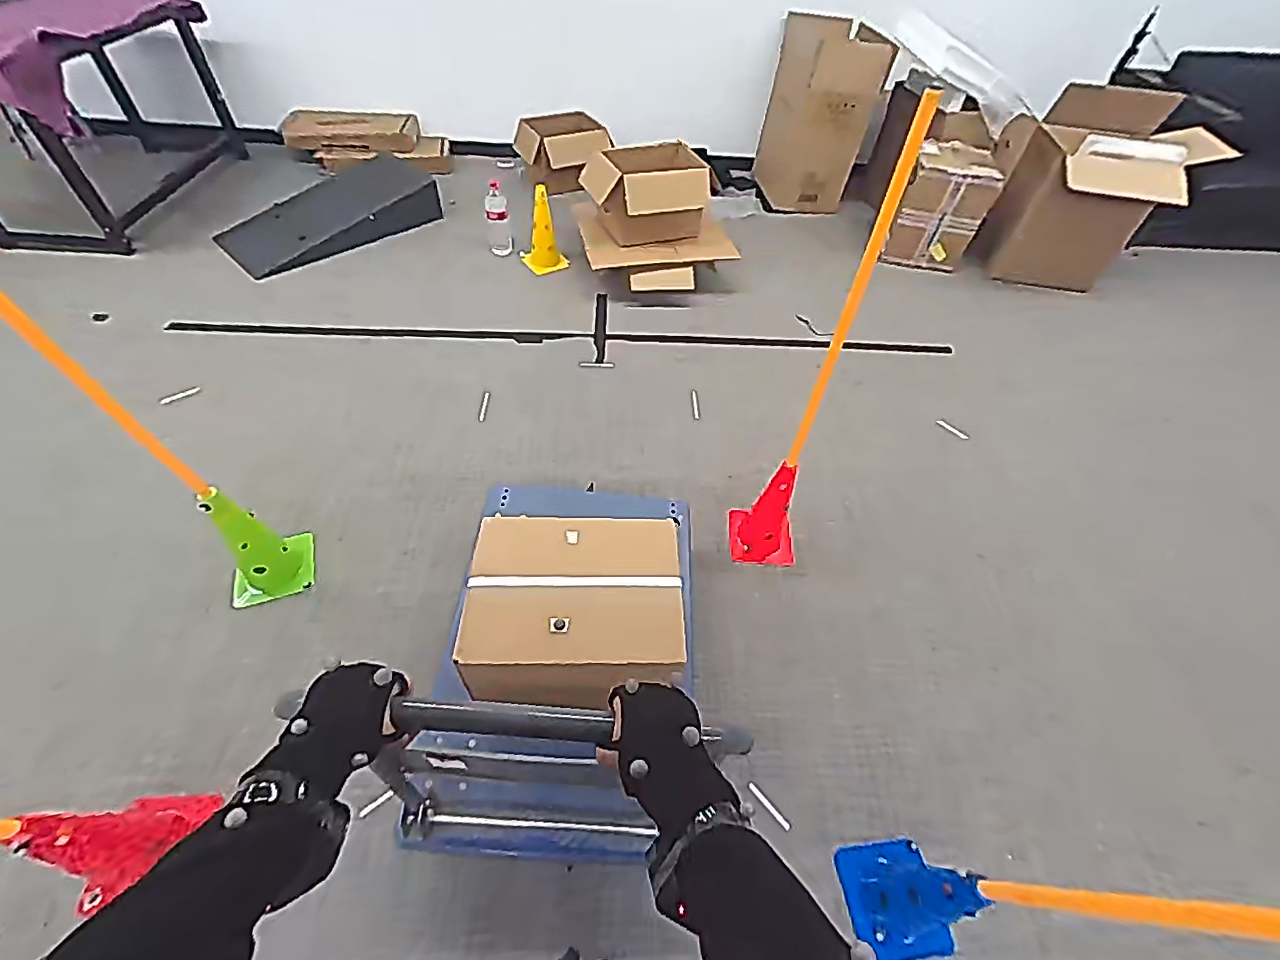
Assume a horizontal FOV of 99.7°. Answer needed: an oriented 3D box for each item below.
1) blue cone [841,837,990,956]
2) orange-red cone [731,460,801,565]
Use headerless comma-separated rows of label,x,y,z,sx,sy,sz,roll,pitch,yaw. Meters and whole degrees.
blue cone,0.554,0.778,1.030,0.193,0.380,0.192,-2,50,-7
orange-red cone,0.402,0.070,1.582,0.199,0.360,0.198,7,51,-1
